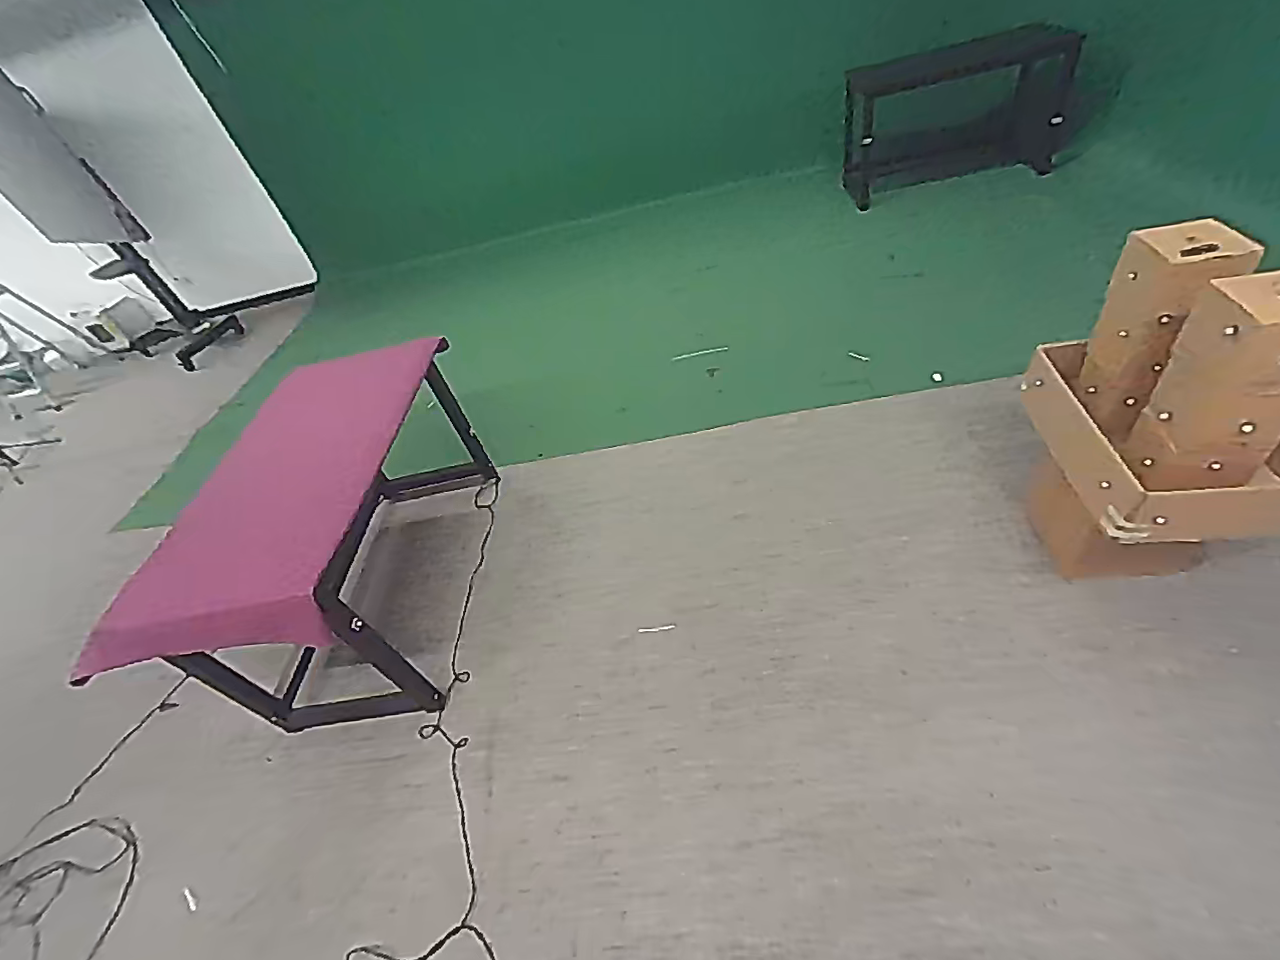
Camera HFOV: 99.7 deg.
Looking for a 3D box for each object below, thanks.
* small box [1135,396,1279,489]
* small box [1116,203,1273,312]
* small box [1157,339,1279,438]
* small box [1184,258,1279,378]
[{"bbox_3d":[1.326,-0.091,1.283,0.179,0.176,0.168,-2,47,18],"label":"small box"},{"bbox_3d":[1.252,-0.500,1.240,0.168,0.176,0.179,-6,45,14],"label":"small box"},{"bbox_3d":[1.285,-0.202,1.171,0.168,0.176,0.179,-3,48,17],"label":"small box"},{"bbox_3d":[1.239,-0.314,1.058,0.168,0.176,0.179,-5,46,16],"label":"small box"}]
